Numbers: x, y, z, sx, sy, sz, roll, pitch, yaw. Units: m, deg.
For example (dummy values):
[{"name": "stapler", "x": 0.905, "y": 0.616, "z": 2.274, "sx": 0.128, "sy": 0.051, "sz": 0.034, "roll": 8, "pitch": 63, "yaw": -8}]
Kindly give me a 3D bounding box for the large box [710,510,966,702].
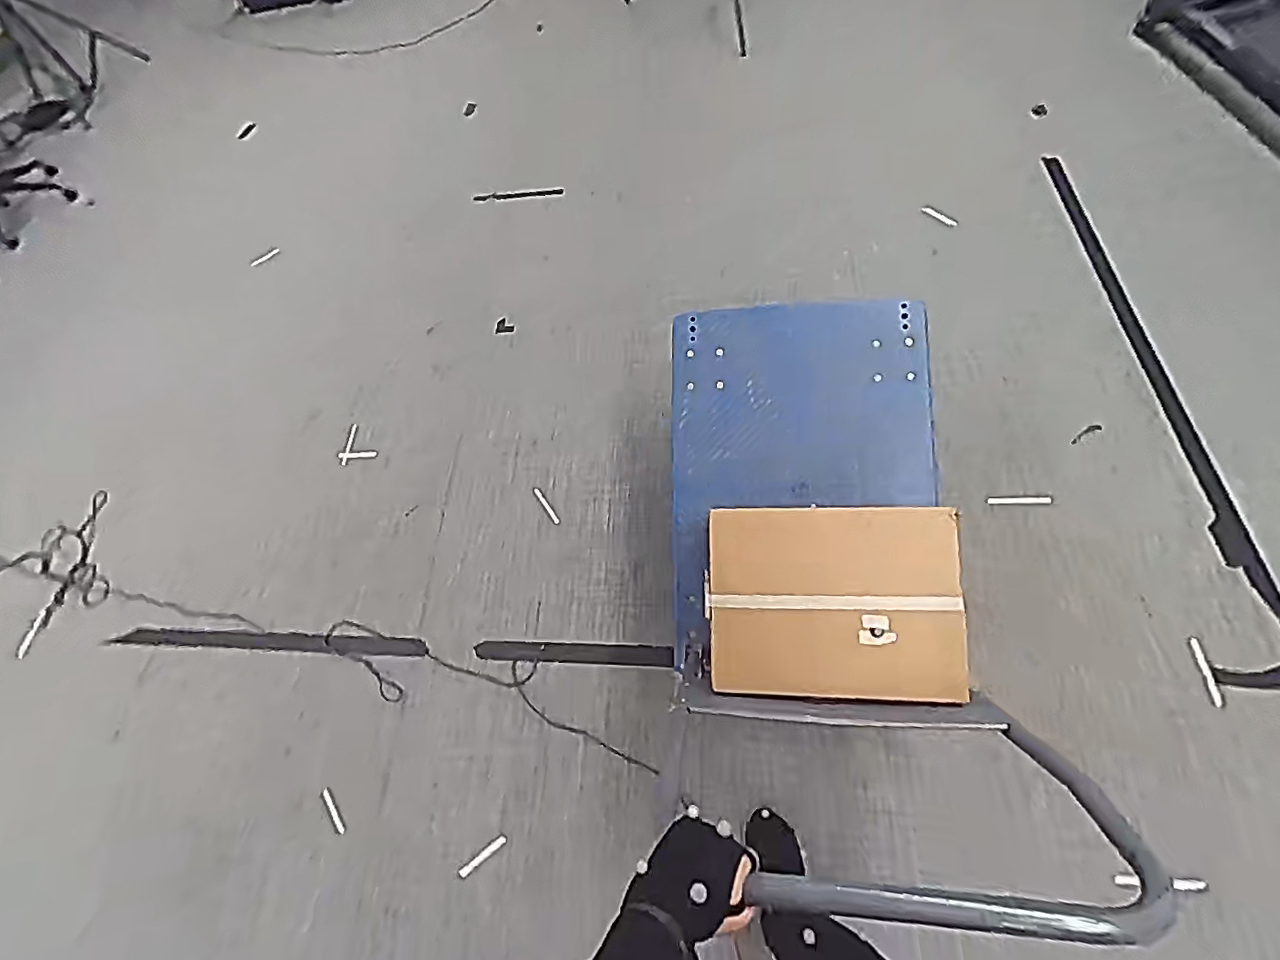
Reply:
[{"name": "large box", "x": 0.345, "y": 0.226, "z": 1.054, "sx": 0.408, "sy": 0.320, "sz": 0.320, "roll": -1, "pitch": 84, "yaw": 9}]
